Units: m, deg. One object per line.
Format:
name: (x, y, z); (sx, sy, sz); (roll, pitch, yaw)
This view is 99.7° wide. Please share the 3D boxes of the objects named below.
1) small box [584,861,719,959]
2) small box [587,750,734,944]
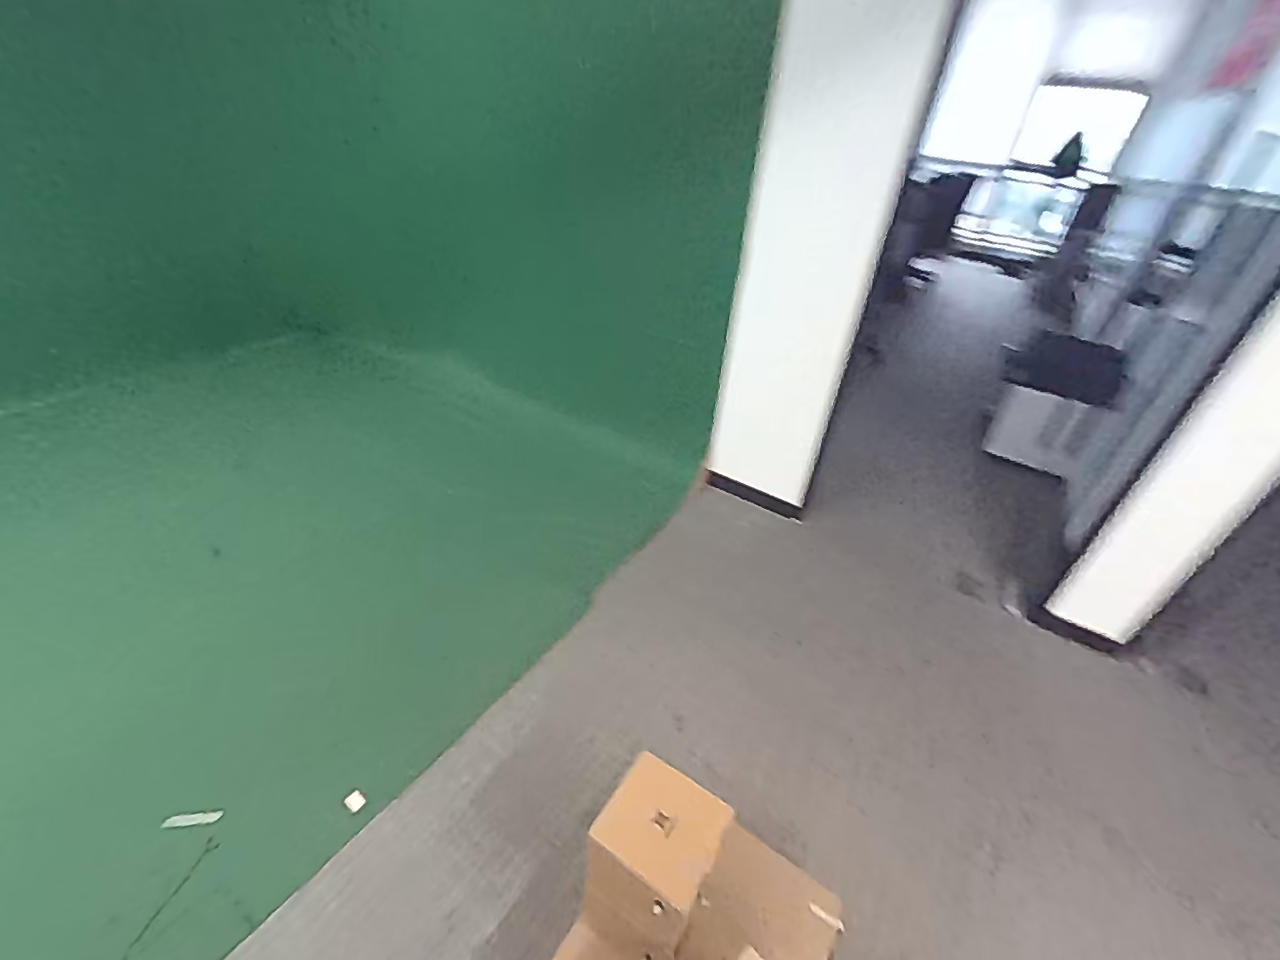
small box: (0.017, 0.733, 0.965); (0.179, 0.176, 0.168); (23, 37, 24)
small box: (0.027, 0.594, 0.879); (0.179, 0.176, 0.168); (24, 38, 24)
